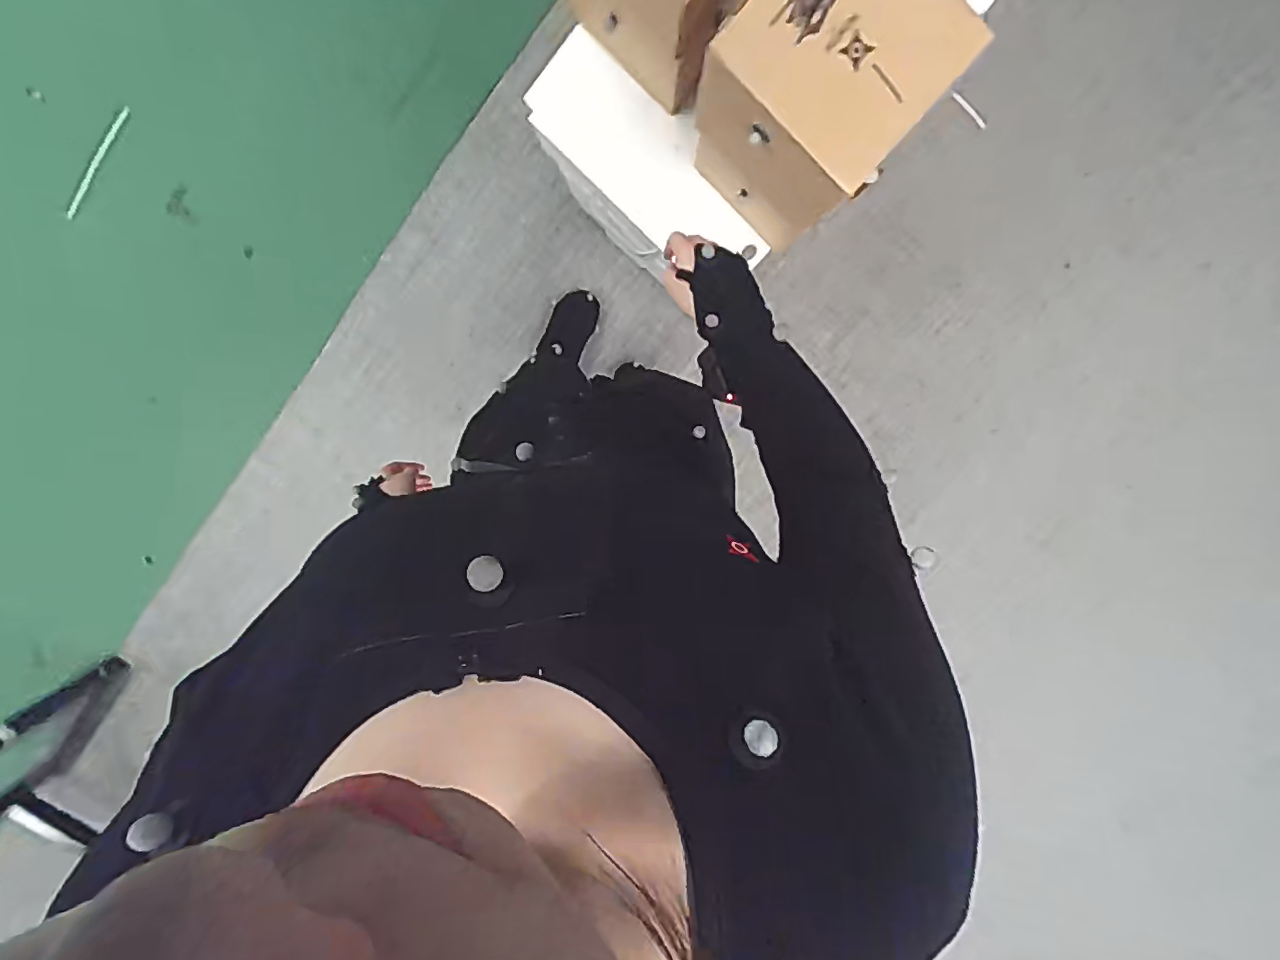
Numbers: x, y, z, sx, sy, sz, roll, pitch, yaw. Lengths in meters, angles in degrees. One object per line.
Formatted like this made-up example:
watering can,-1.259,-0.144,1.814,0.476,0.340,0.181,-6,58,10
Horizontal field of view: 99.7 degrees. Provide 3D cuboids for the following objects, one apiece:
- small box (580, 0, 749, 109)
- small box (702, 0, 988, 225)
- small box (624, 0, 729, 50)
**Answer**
small box,0.036,-0.603,0.653,0.179,0.176,0.168,40,101,-11
small box,0.180,-0.388,0.537,0.179,0.176,0.168,42,100,-9
small box,0.036,-0.559,0.495,0.179,0.176,0.168,42,100,-12
